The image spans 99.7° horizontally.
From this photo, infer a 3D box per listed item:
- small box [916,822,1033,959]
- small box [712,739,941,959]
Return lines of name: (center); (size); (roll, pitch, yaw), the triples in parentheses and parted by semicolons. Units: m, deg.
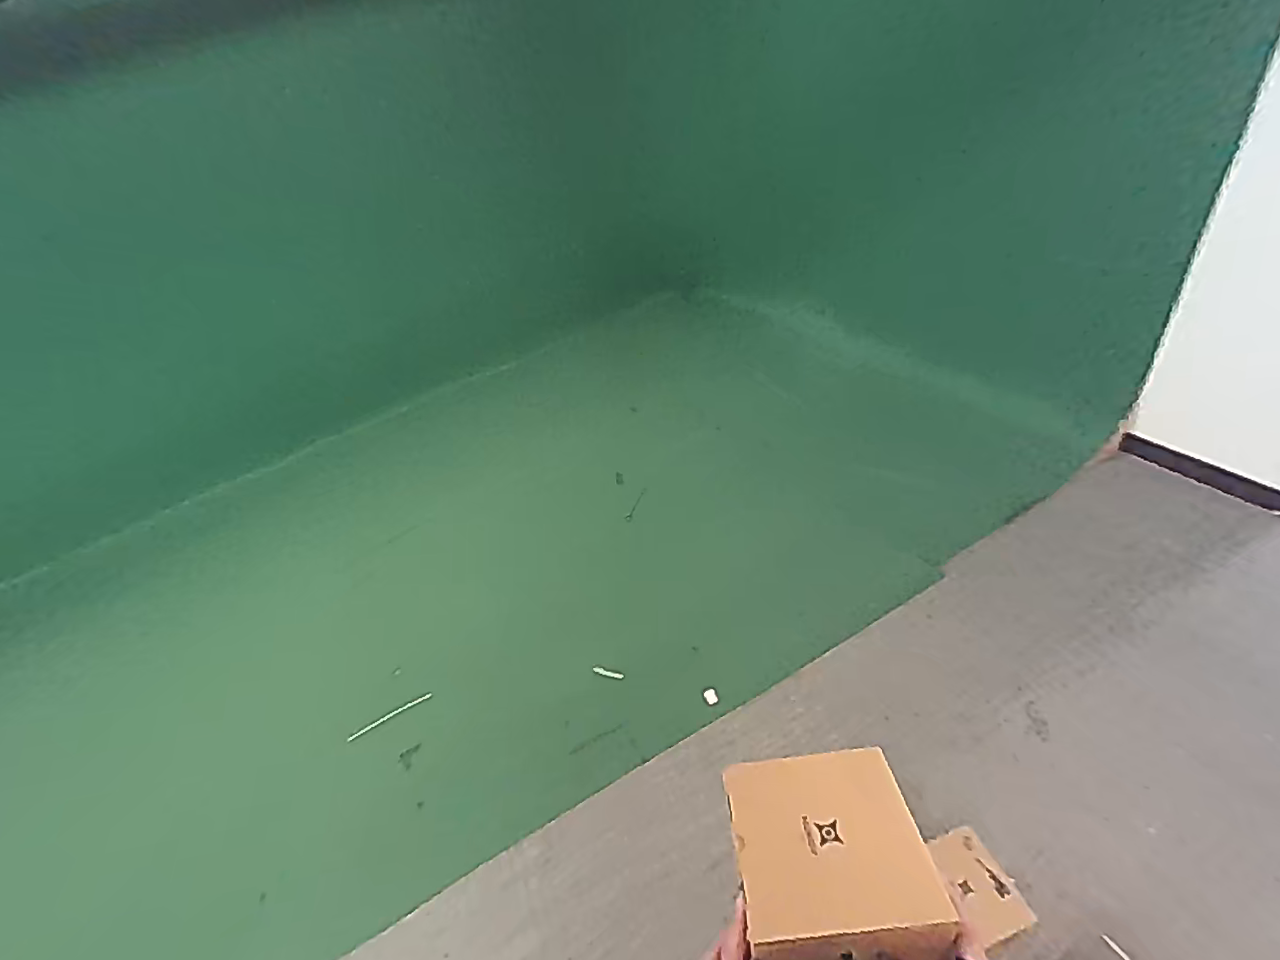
small box: (0.611, 0.814, 1.051); (0.179, 0.176, 0.168); (-22, 40, -5)
small box: (0.181, 0.406, 0.563); (0.179, 0.176, 0.168); (-11, 26, 4)
